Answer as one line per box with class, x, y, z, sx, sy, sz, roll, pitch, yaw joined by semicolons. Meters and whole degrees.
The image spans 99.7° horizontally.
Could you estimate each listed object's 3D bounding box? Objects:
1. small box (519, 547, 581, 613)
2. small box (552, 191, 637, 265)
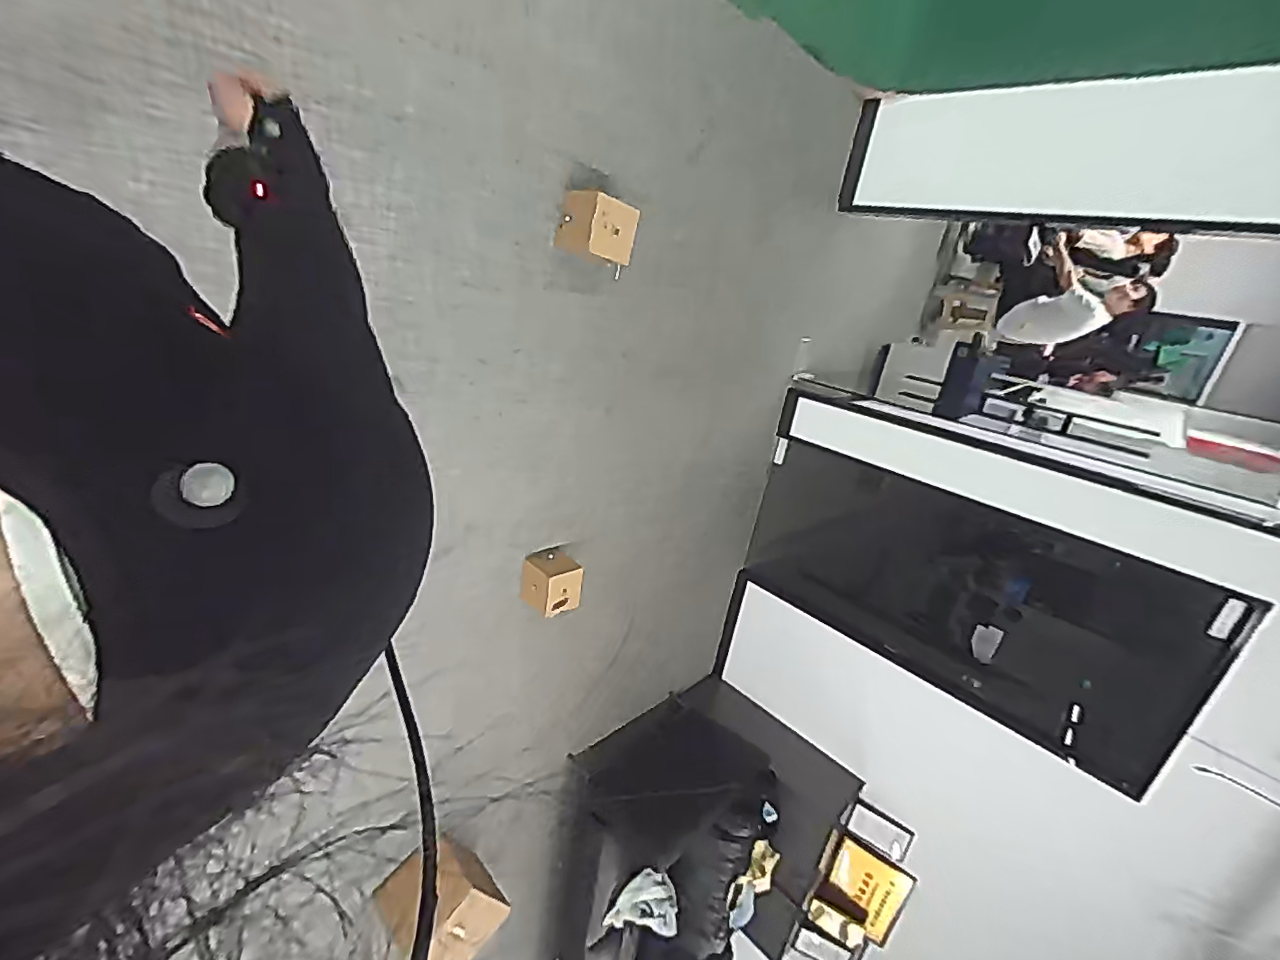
small box;-0.359;0.387;2.125;0.168;0.176;0.179;-10;118;-46
small box;-0.142;-0.780;1.670;0.179;0.176;0.168;-4;114;-48
